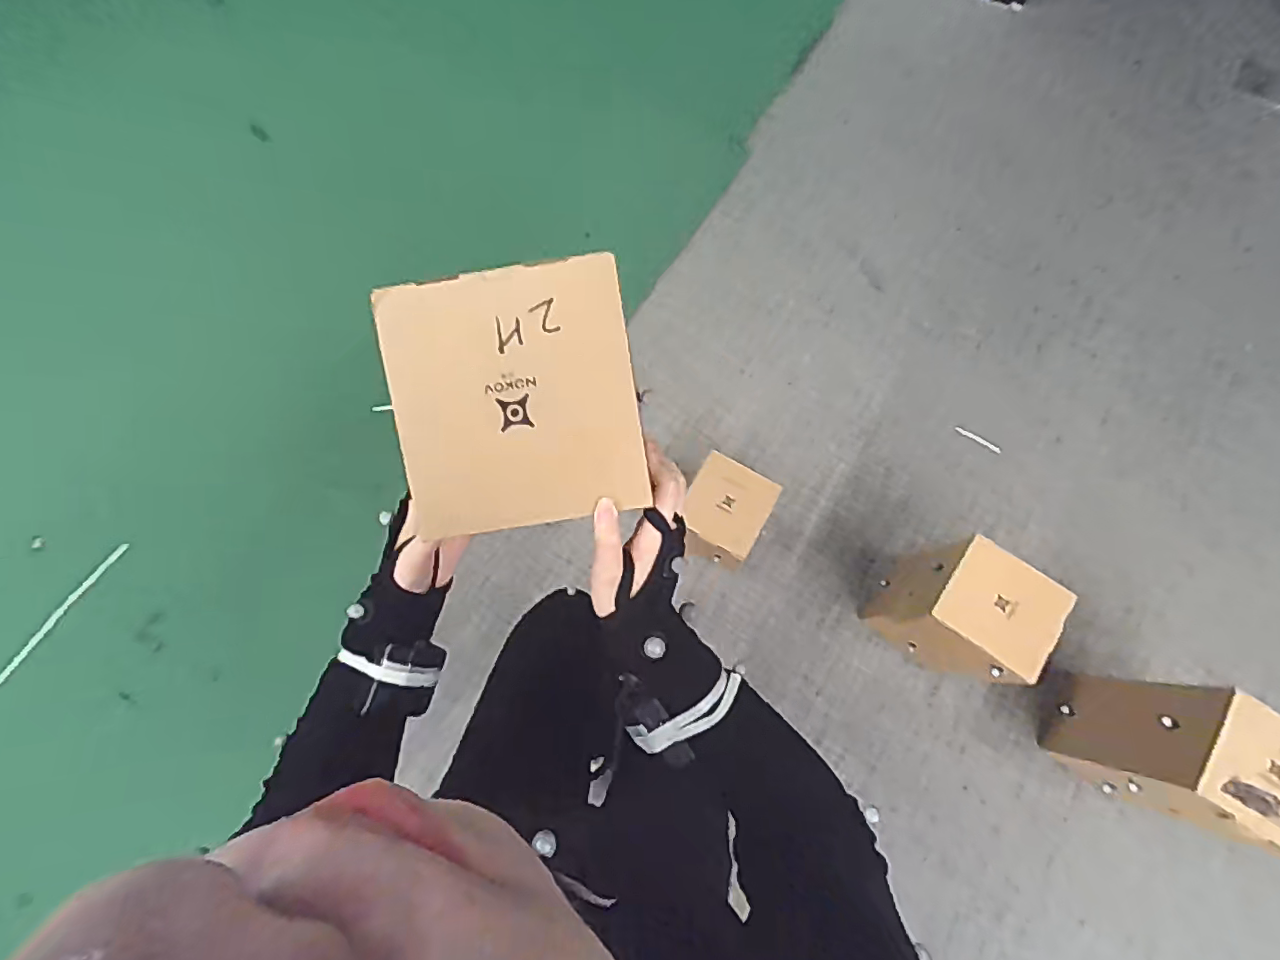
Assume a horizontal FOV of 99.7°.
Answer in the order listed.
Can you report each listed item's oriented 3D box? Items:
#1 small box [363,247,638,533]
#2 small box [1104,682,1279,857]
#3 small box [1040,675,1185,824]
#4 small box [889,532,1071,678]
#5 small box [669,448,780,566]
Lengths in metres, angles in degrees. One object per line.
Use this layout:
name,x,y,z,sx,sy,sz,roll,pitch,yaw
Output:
small box,-0.092,-0.067,0.446,0.168,0.176,0.179,-9,96,0
small box,0.898,0.445,0.855,0.168,0.176,0.179,36,76,11
small box,0.905,0.490,1.014,0.168,0.176,0.179,34,77,10
small box,0.570,0.220,0.932,0.179,0.176,0.168,36,77,11
small box,0.174,0.067,1.158,0.168,0.176,0.179,31,75,9
